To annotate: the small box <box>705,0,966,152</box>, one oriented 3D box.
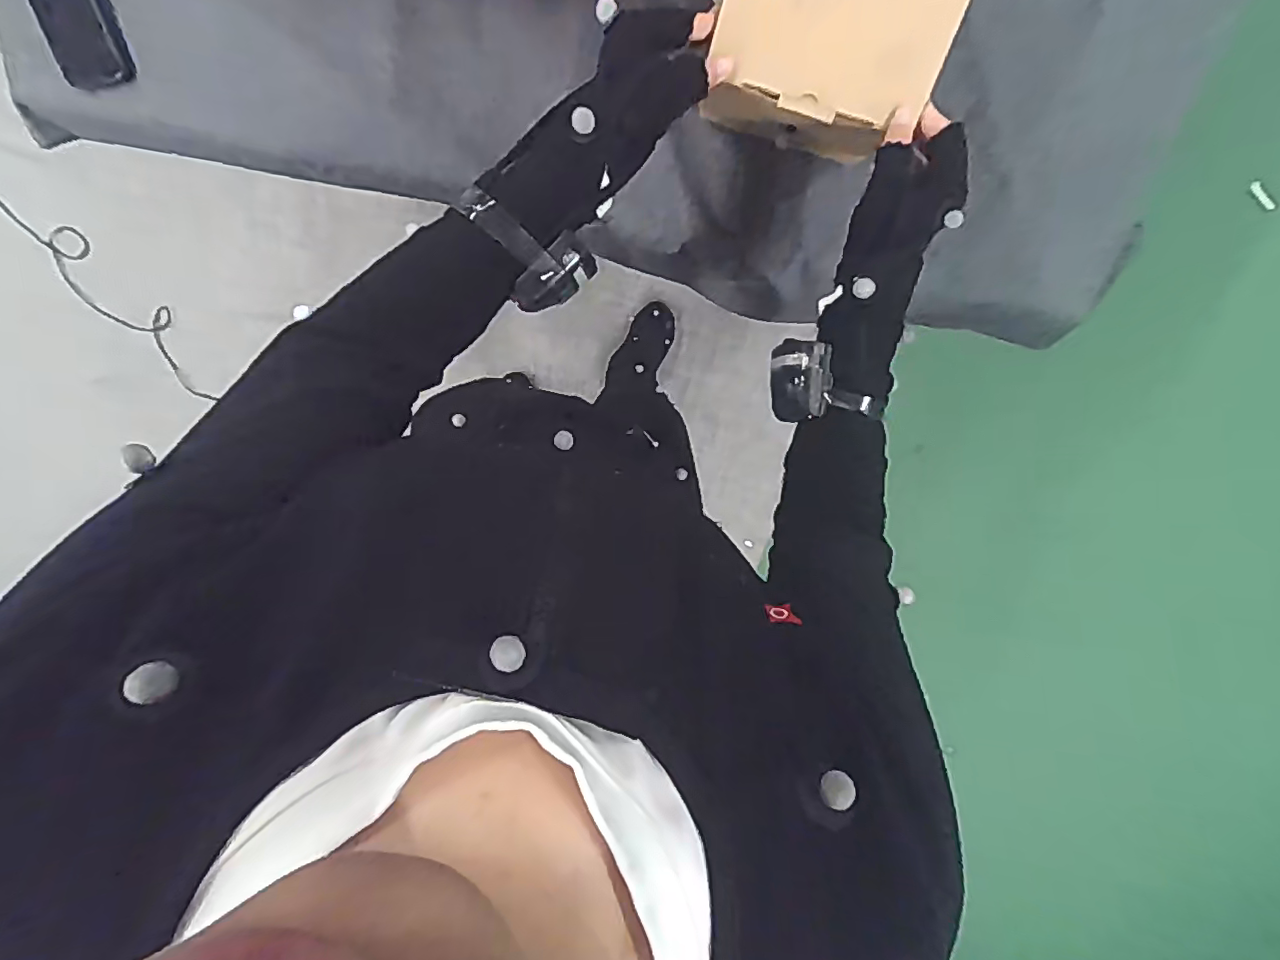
[{"bbox_3d":[0.159,-0.394,0.445,0.168,0.176,0.179,17,116,-1],"label":"small box"}]
